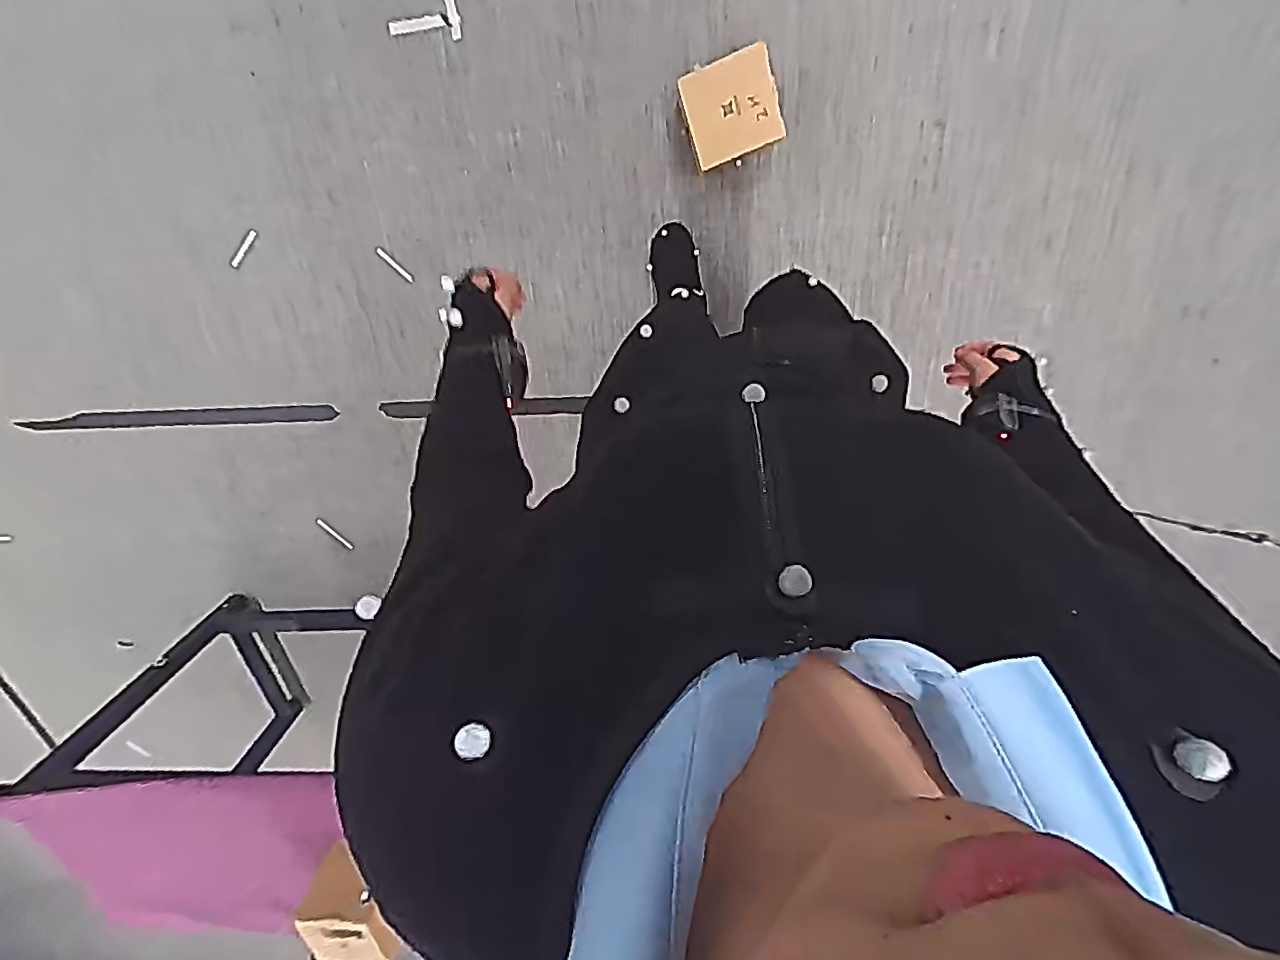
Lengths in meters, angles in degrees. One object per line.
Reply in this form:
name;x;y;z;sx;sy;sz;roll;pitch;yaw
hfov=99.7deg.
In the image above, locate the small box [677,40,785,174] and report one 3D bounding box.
small box;0.185;-0.751;1.114;0.179;0.176;0.168;-17;113;12
